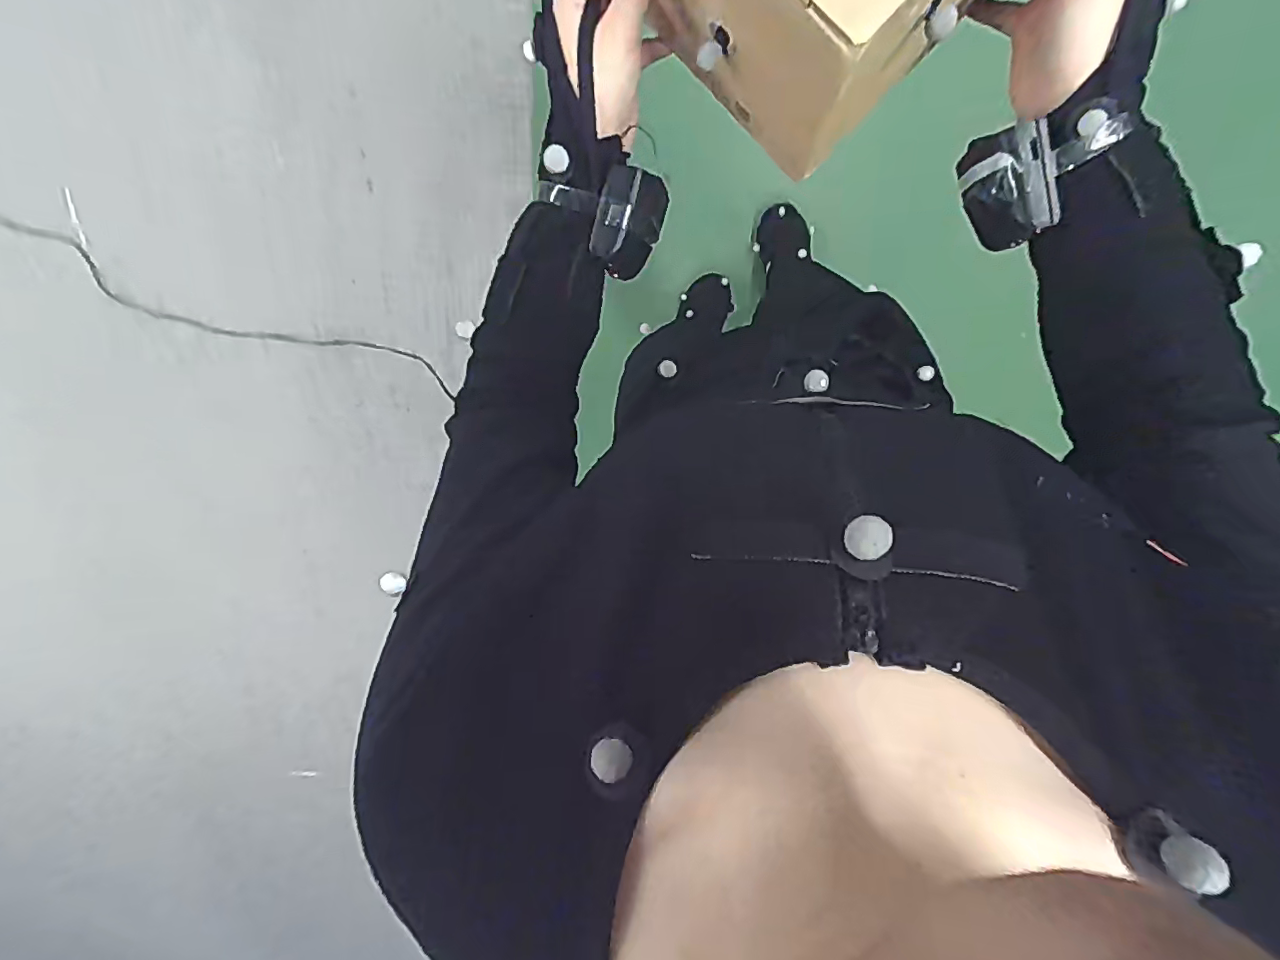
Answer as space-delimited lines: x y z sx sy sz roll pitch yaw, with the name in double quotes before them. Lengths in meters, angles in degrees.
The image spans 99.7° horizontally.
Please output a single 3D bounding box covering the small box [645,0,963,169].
"small box" 0.102 -0.318 0.298 0.168 0.176 0.179 45 105 -2
